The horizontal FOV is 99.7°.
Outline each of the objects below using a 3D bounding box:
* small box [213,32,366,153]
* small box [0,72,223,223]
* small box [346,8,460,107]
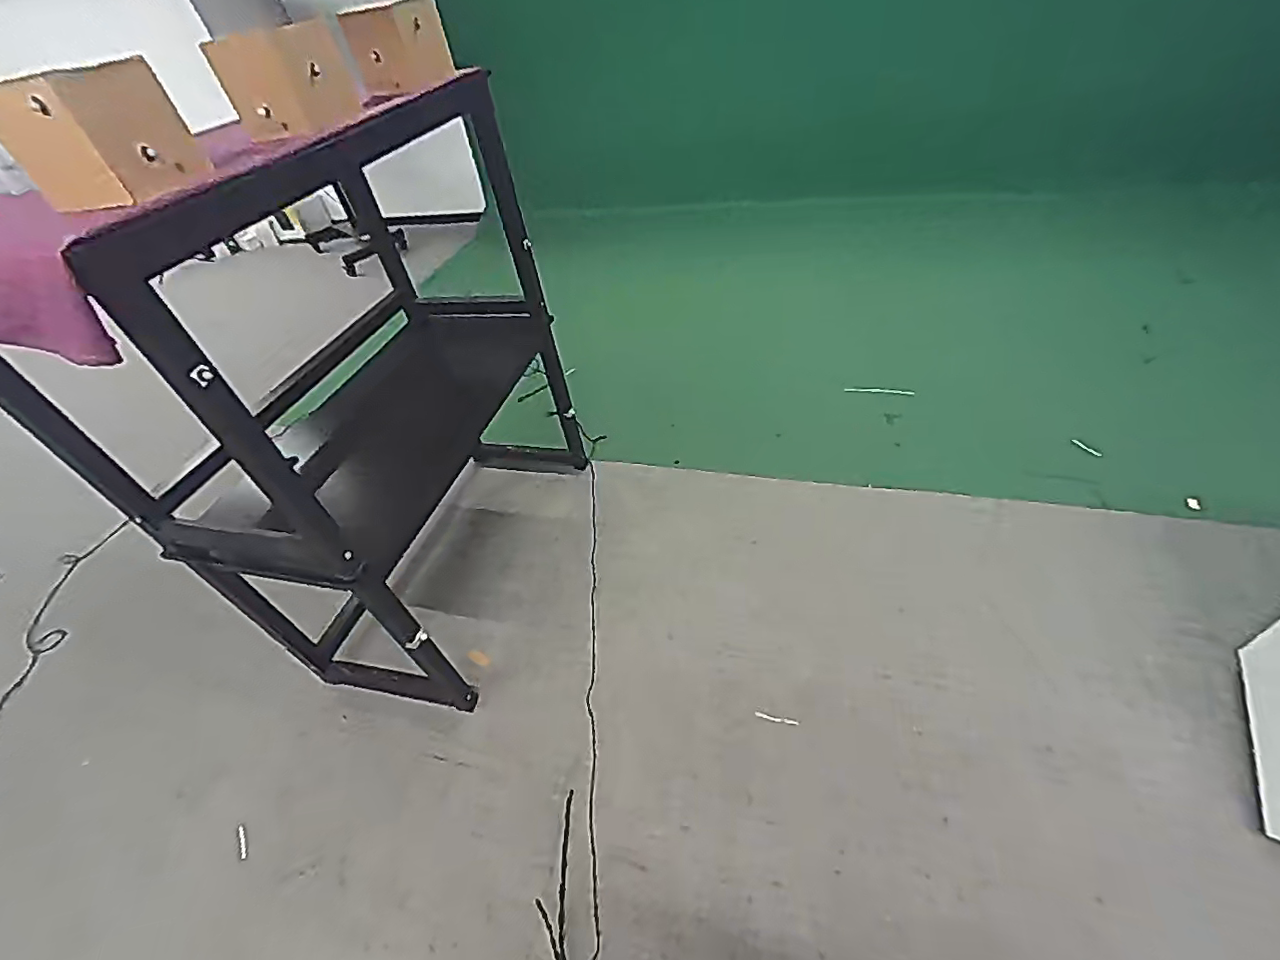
[{"bbox_3d":[-0.705,-0.796,1.117,0.168,0.176,0.179,5,46,18],"label":"small box"},{"bbox_3d":[-0.838,-0.526,0.864,0.179,0.176,0.168,2,44,14],"label":"small box"},{"bbox_3d":[-0.590,-1.066,1.374,0.168,0.176,0.179,10,48,19],"label":"small box"}]
